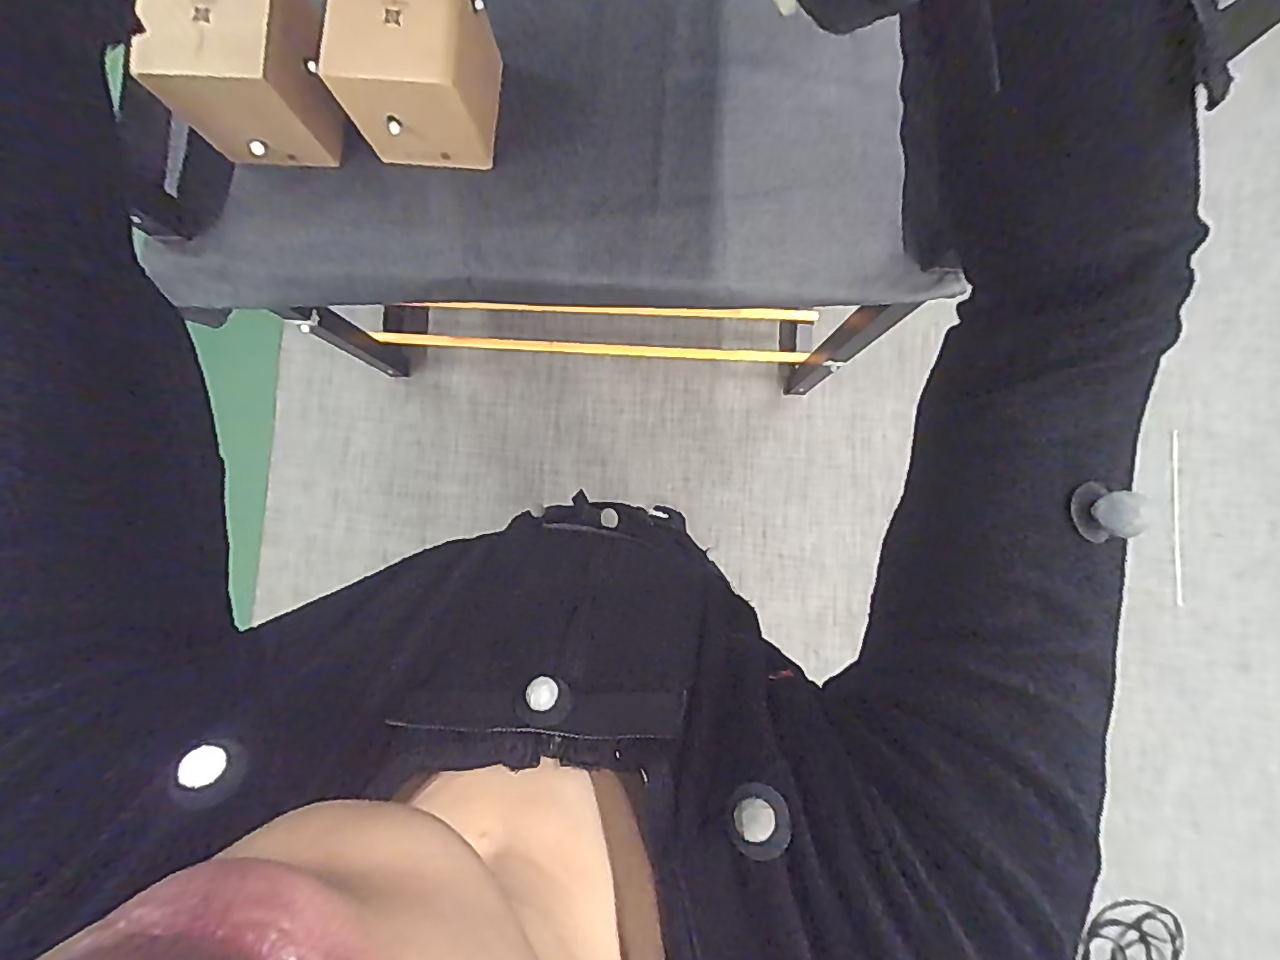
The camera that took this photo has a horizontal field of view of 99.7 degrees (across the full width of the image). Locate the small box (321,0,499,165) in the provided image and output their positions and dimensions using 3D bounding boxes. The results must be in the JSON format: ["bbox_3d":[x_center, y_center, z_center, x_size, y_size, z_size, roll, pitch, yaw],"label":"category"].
[{"bbox_3d":[-0.299,-0.565,0.739,0.168,0.176,0.179,4,86,0],"label":"small box"}]

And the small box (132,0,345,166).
[{"bbox_3d":[-0.526,-0.568,0.737,0.168,0.176,0.179,3,86,0],"label":"small box"}]
